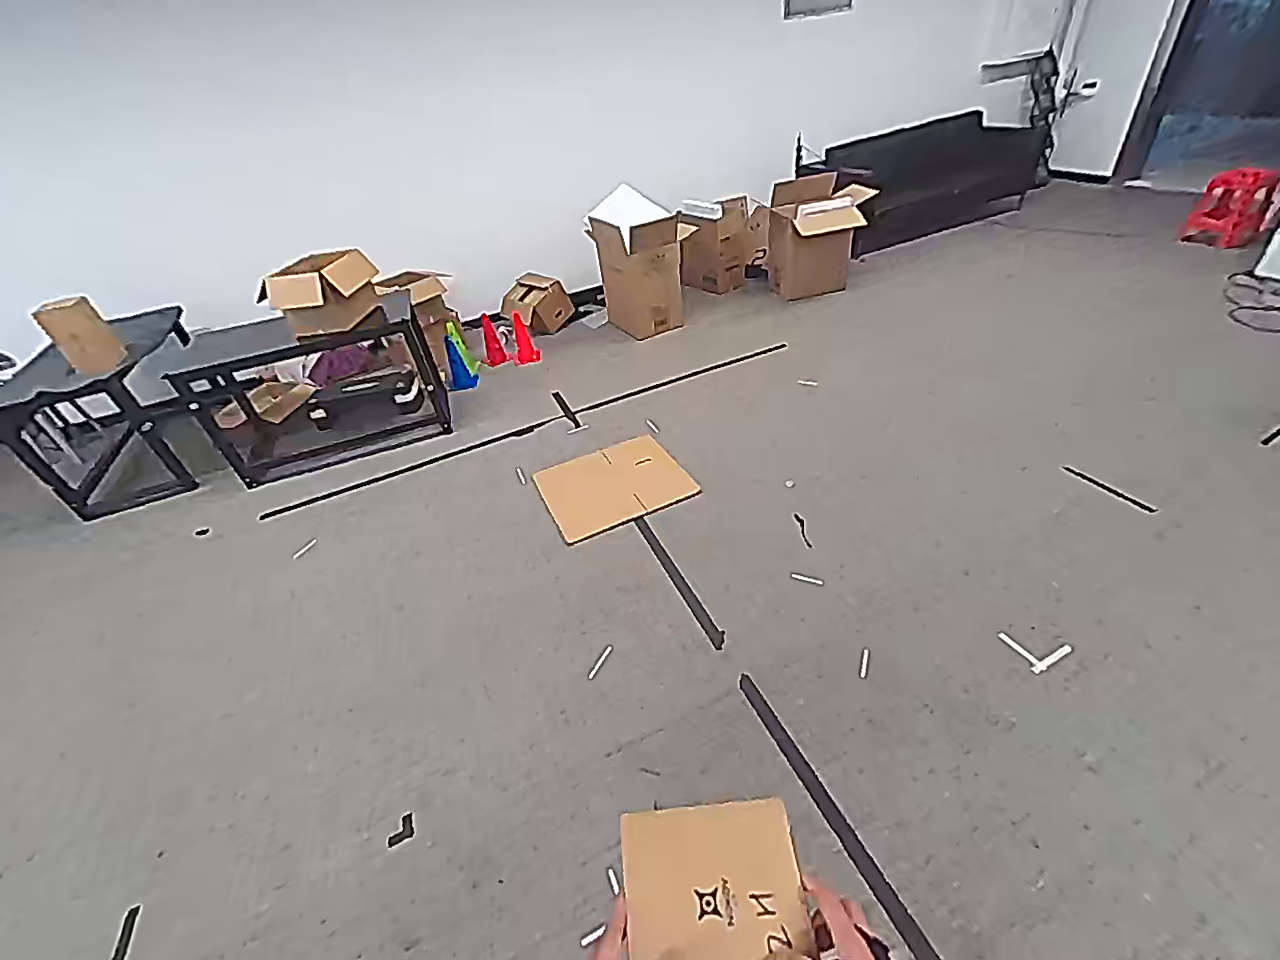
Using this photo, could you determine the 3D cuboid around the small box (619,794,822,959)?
[{"bbox_3d":[0.072,0.450,0.571,0.179,0.176,0.168,-3,49,-4],"label":"small box"}]
